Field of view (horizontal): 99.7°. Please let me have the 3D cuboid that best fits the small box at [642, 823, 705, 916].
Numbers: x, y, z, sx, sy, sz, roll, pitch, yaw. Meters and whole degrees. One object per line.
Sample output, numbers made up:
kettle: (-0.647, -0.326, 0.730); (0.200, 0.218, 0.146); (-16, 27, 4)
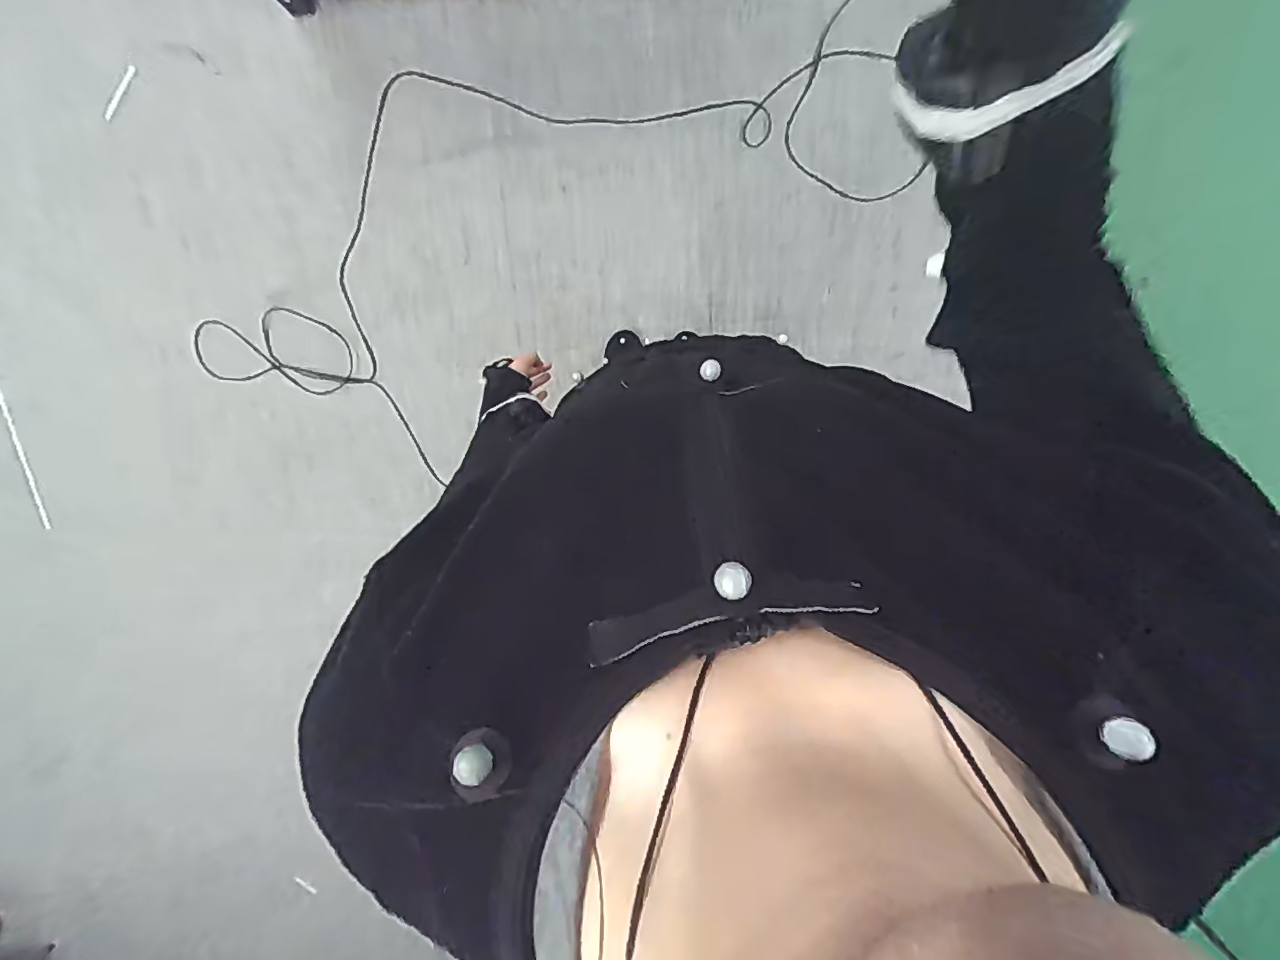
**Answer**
small box: (0.098, 1.184, 1.655); (0.179, 0.176, 0.168); (-3, 102, -1)
